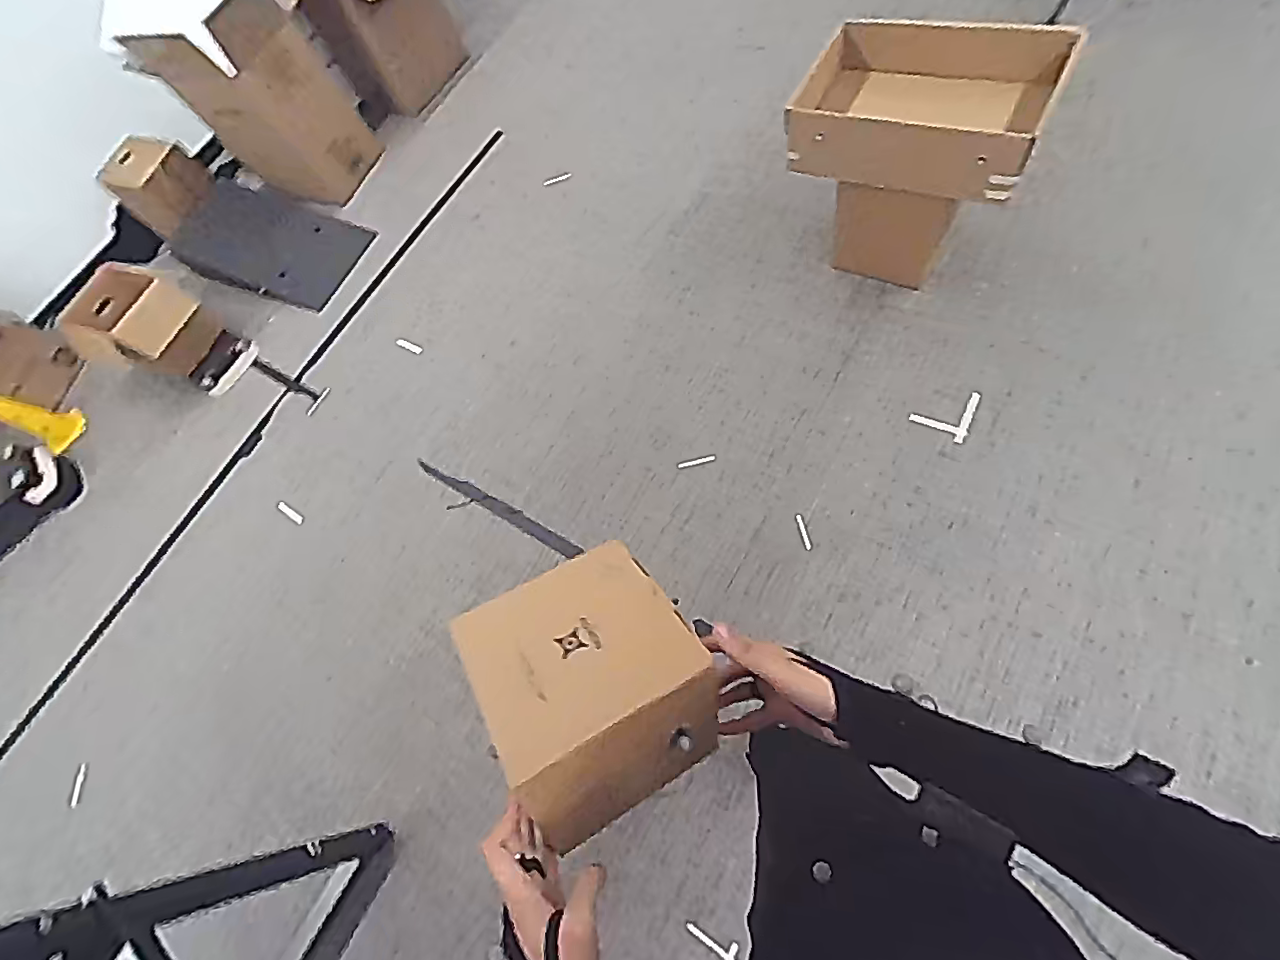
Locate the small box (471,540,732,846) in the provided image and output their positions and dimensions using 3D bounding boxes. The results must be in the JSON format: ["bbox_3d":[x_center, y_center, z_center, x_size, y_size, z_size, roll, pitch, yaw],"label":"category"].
[{"bbox_3d":[-0.033,0.194,0.507,0.179,0.176,0.168,-24,43,-18],"label":"small box"}]
